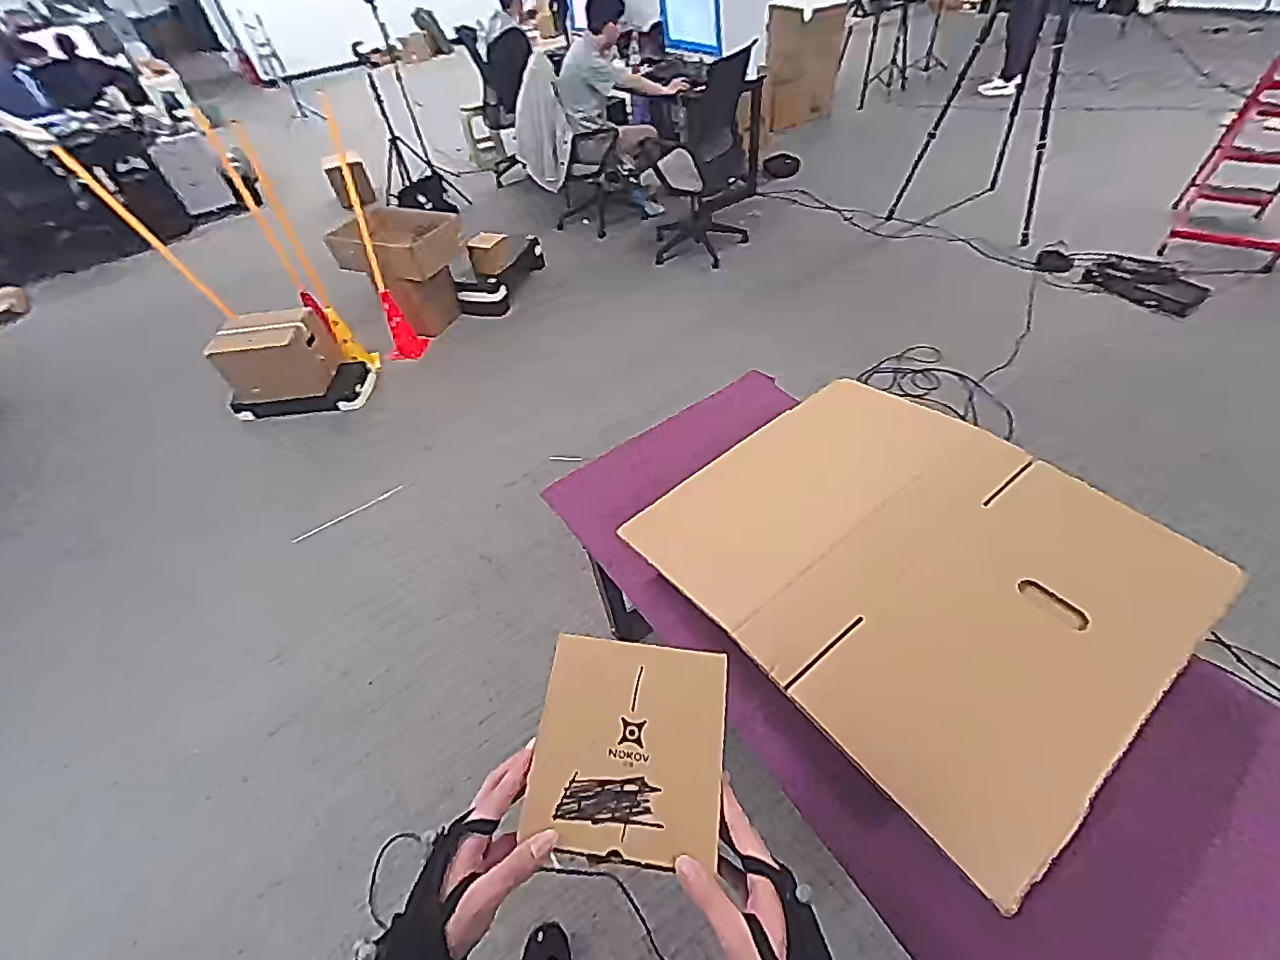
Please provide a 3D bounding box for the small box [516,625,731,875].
[{"bbox_3d":[-0.006,0.264,0.536,0.168,0.176,0.179,7,58,5],"label":"small box"}]
